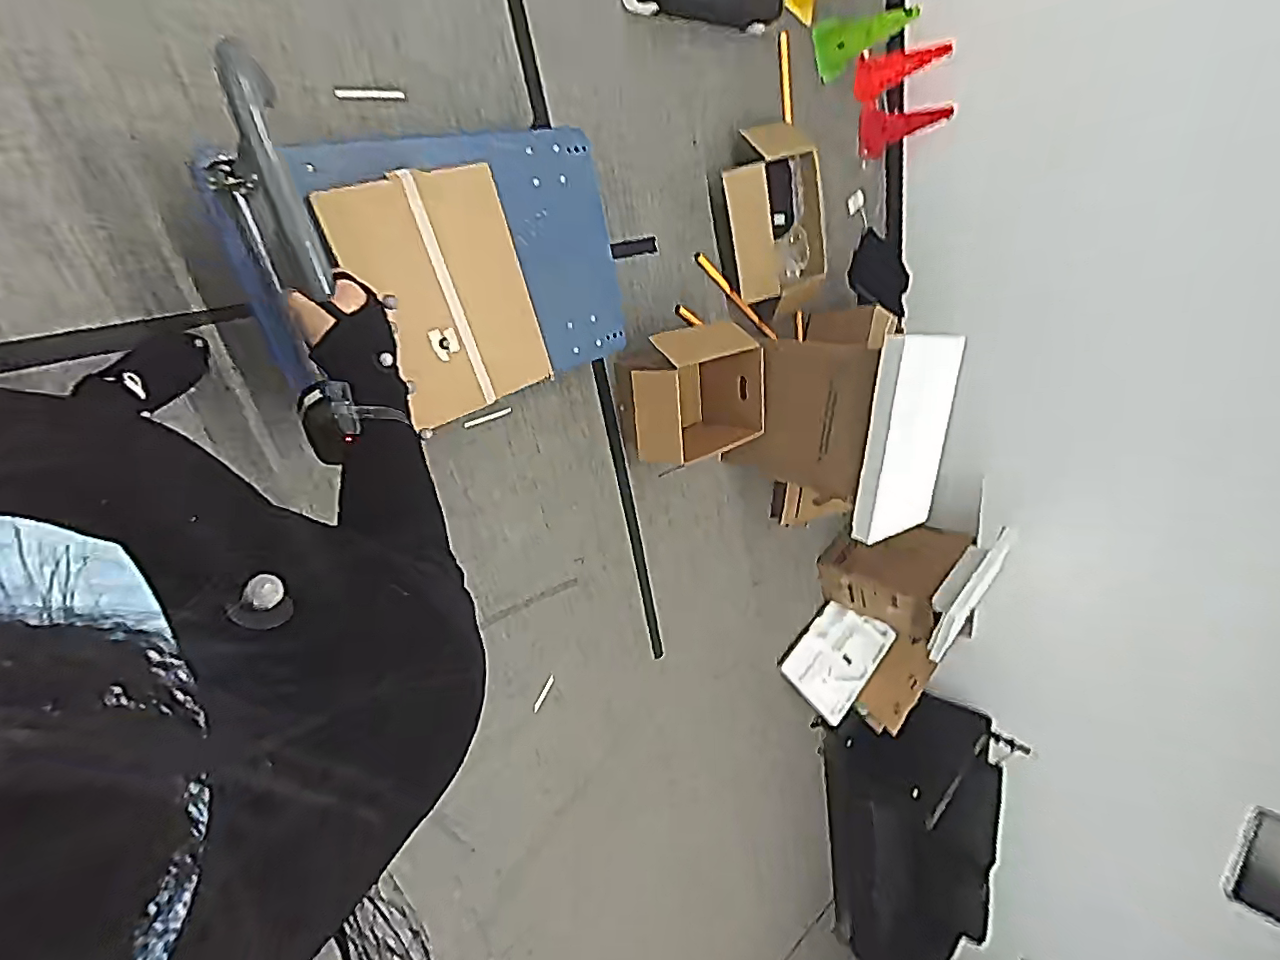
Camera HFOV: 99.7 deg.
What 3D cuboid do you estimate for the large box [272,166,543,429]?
[{"bbox_3d":[-0.459,-0.363,1.095,0.320,0.320,0.408,-32,122,-31],"label":"large box"}]
